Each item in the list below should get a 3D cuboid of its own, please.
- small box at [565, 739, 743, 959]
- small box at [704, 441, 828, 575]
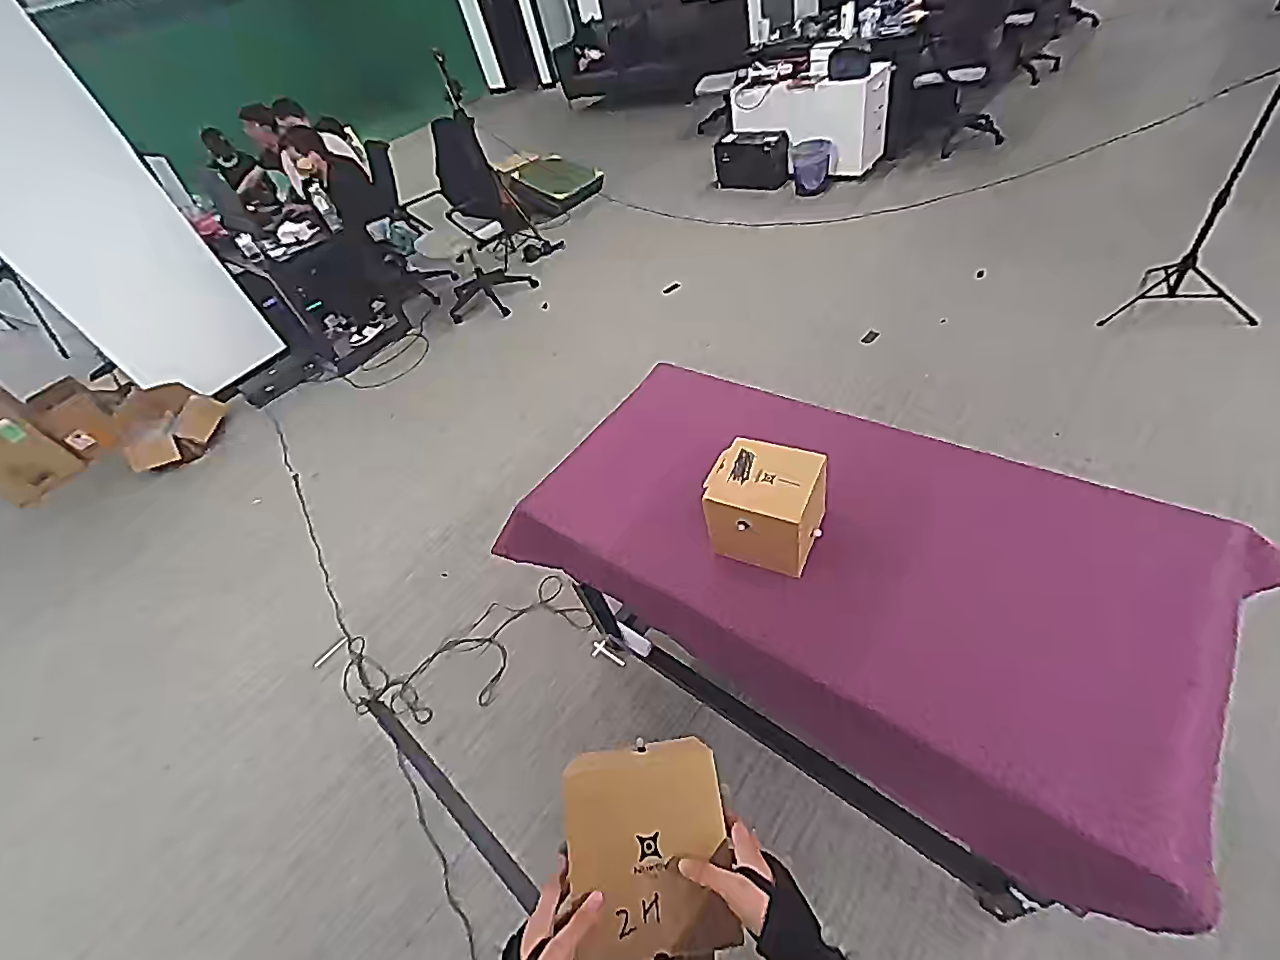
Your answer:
[{"bbox_3d":[0.008,0.403,0.619,0.168,0.176,0.179,-6,70,-3],"label":"small box"},{"bbox_3d":[0.239,0.054,1.014,0.179,0.176,0.168,15,53,27],"label":"small box"}]
